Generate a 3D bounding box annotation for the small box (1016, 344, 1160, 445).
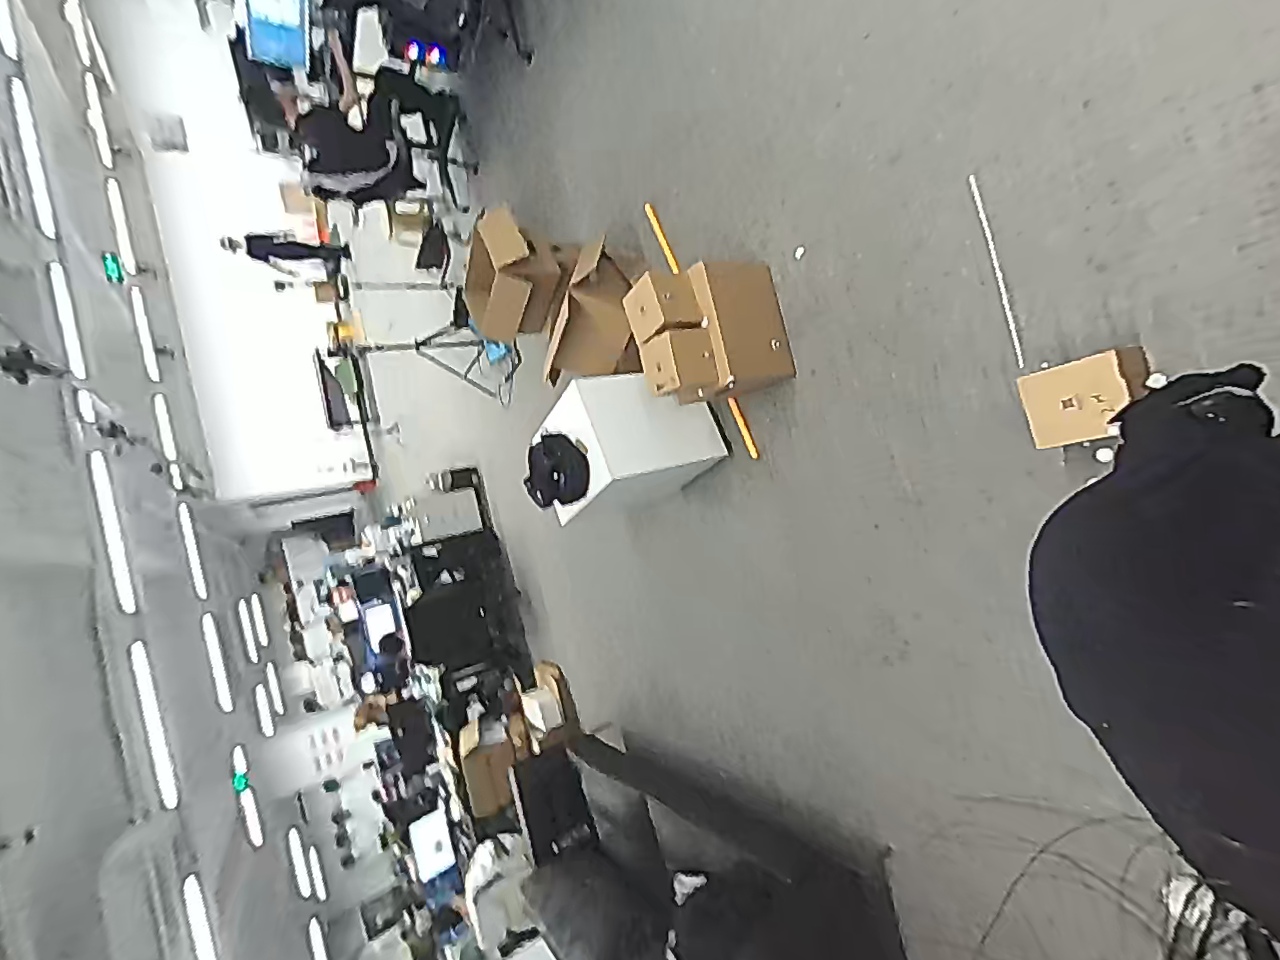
[{"bbox_3d":[0.952,-0.180,1.151,0.179,0.176,0.168,-19,86,57],"label":"small box"}]
